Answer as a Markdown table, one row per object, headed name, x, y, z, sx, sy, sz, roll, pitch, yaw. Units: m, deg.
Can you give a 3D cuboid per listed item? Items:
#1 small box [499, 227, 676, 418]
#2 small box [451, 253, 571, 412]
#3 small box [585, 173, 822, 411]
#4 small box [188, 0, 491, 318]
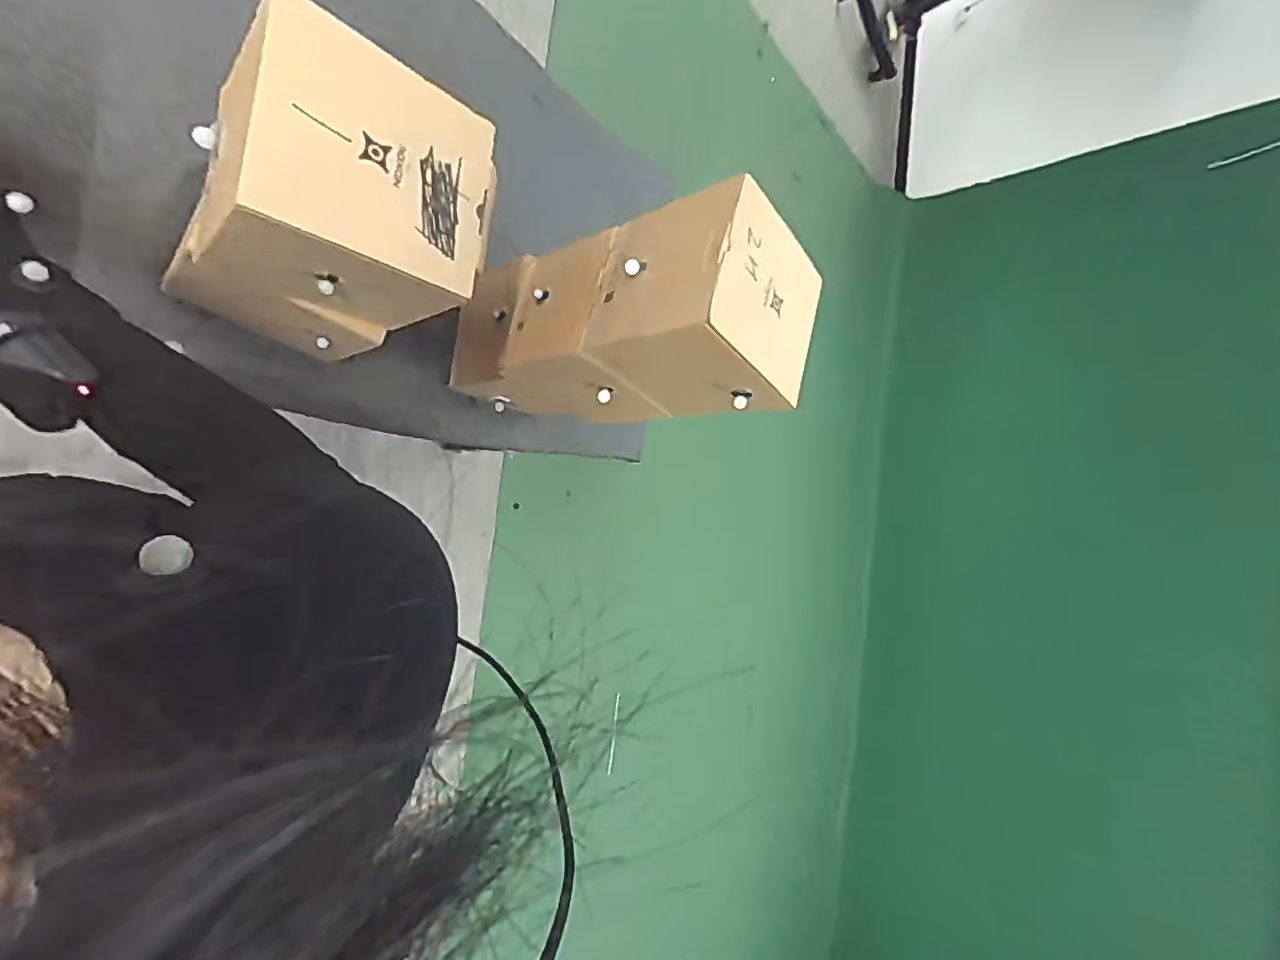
| name | x | y | z | sx | sy | sz | roll | pitch | yaw |
| --- | --- | --- | --- | --- | --- | --- | --- | --- | --- |
| small box | -0.049 | -0.188 | 0.706 | 0.179 | 0.176 | 0.168 | 26 | 73 | -43 |
| small box | -0.166 | -0.207 | 0.818 | 0.168 | 0.176 | 0.179 | 11 | 84 | -46 |
| small box | 0.072 | -0.185 | 0.594 | 0.179 | 0.176 | 0.168 | 28 | 71 | -42 |
| small box | -0.261 | -0.254 | 0.474 | 0.179 | 0.176 | 0.168 | 11 | 84 | -46 |
